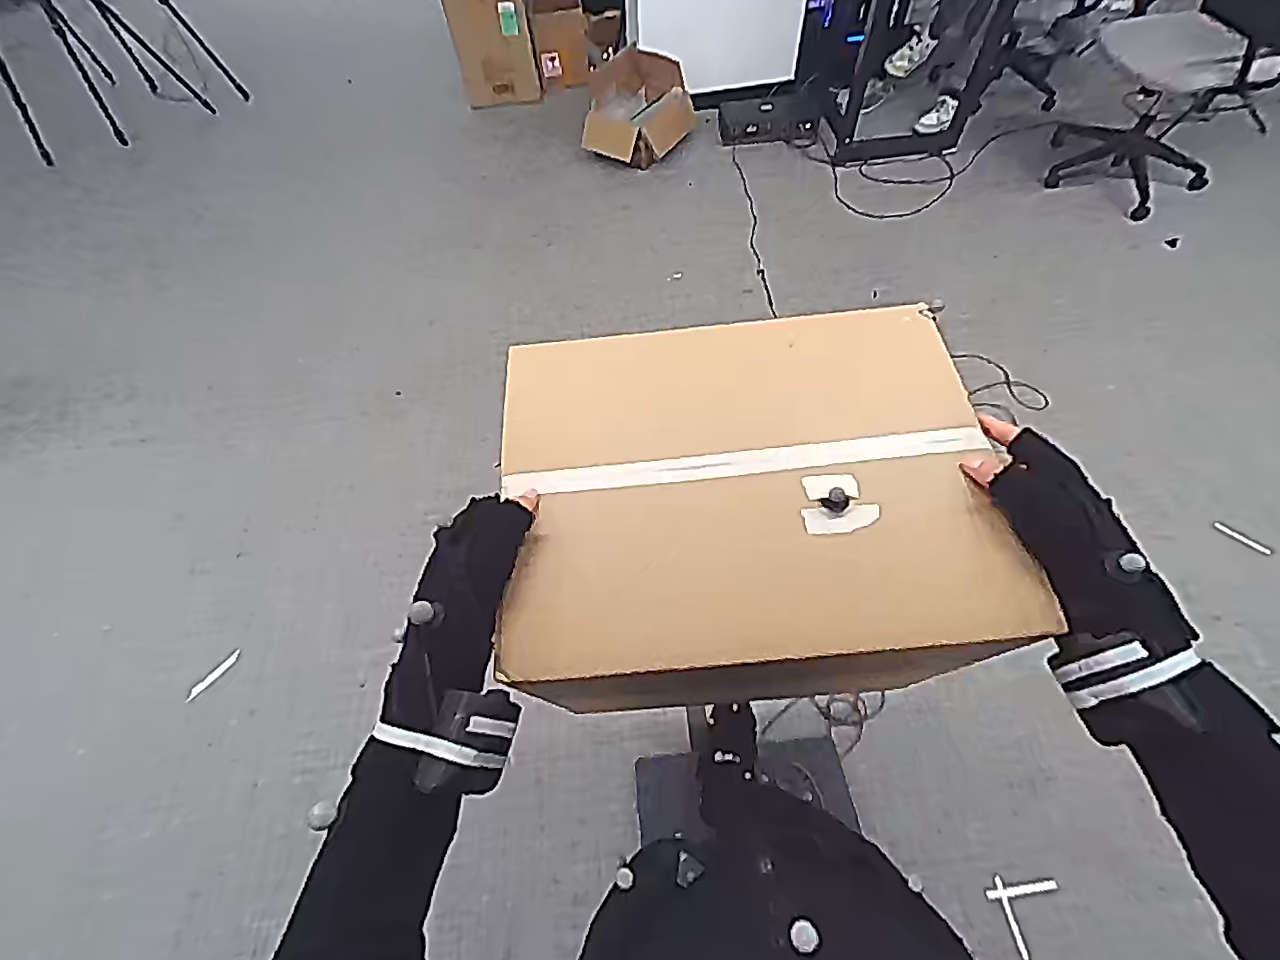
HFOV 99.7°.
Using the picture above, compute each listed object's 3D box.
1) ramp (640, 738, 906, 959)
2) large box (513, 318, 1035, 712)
[{"bbox_3d":[0.287,1.041,1.004,0.509,0.206,0.991,-10,58,0],"label":"ramp"},{"bbox_3d":[0.095,0.062,0.605,0.408,0.320,0.320,-6,62,1],"label":"large box"}]
